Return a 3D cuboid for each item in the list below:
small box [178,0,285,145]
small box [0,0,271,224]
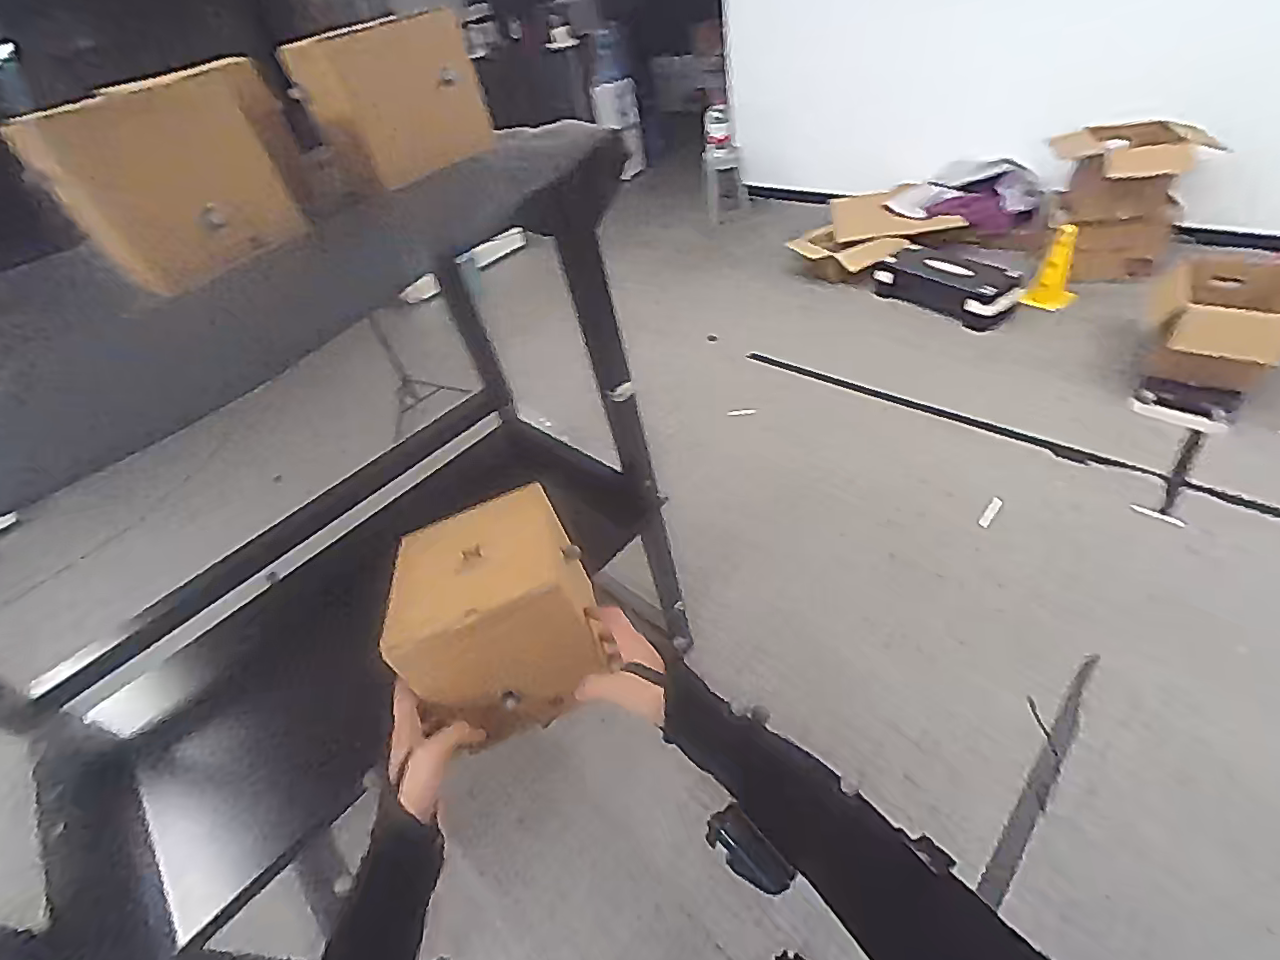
[{"bbox_3d":[-0.636,-0.544,0.739,0.179,0.176,0.168,29,59,35],"label":"small box"},{"bbox_3d":[-0.533,-0.379,0.551,0.179,0.176,0.168,23,56,32],"label":"small box"}]
